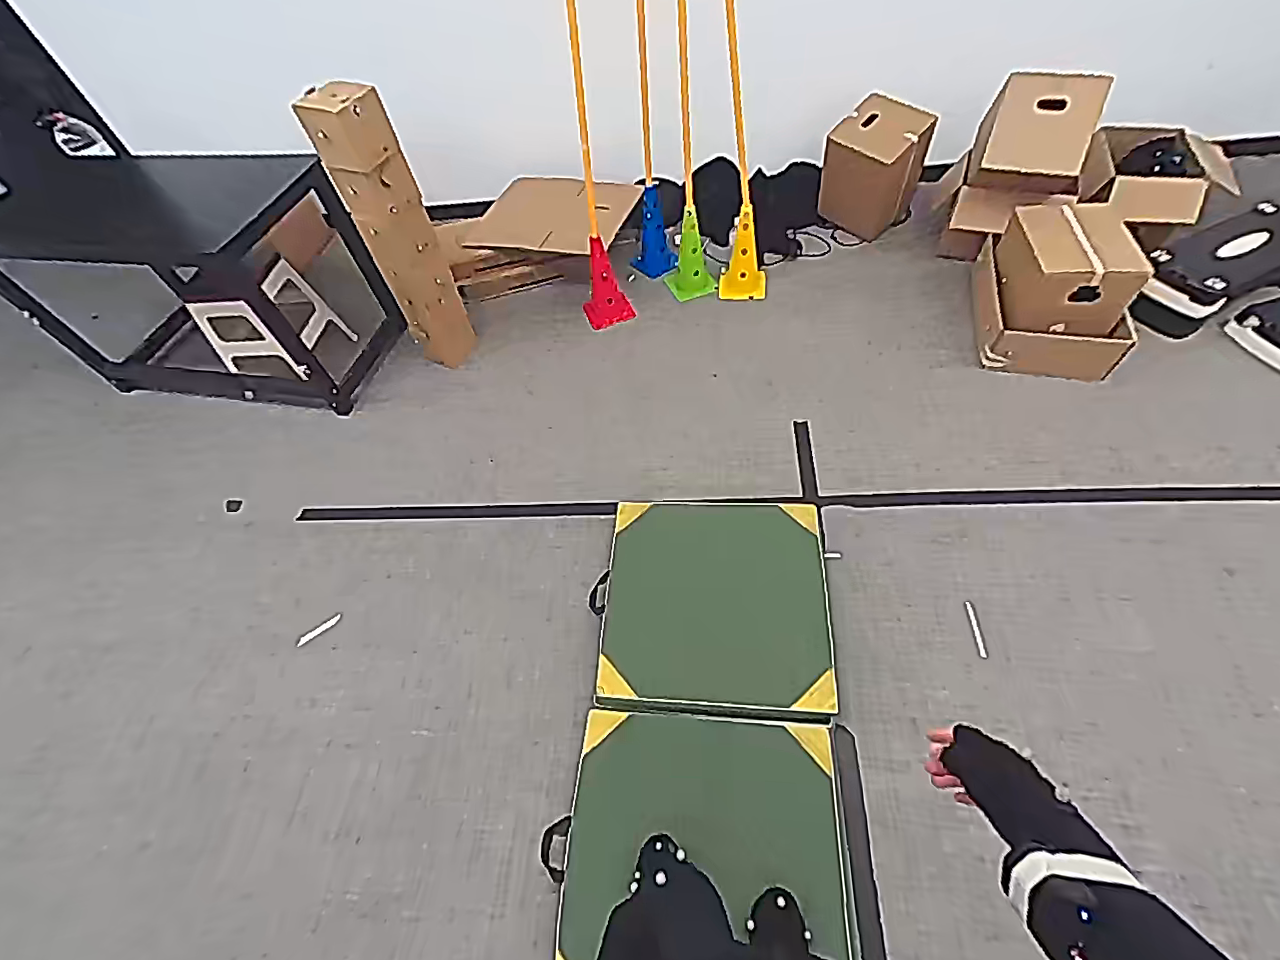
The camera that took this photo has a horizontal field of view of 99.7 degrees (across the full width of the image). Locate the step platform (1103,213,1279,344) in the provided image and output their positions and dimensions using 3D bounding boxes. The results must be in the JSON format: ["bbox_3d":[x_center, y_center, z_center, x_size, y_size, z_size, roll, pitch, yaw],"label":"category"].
[{"bbox_3d":[2.147,-0.765,2.033,0.684,0.204,0.286,-24,55,-10],"label":"step platform"}]
